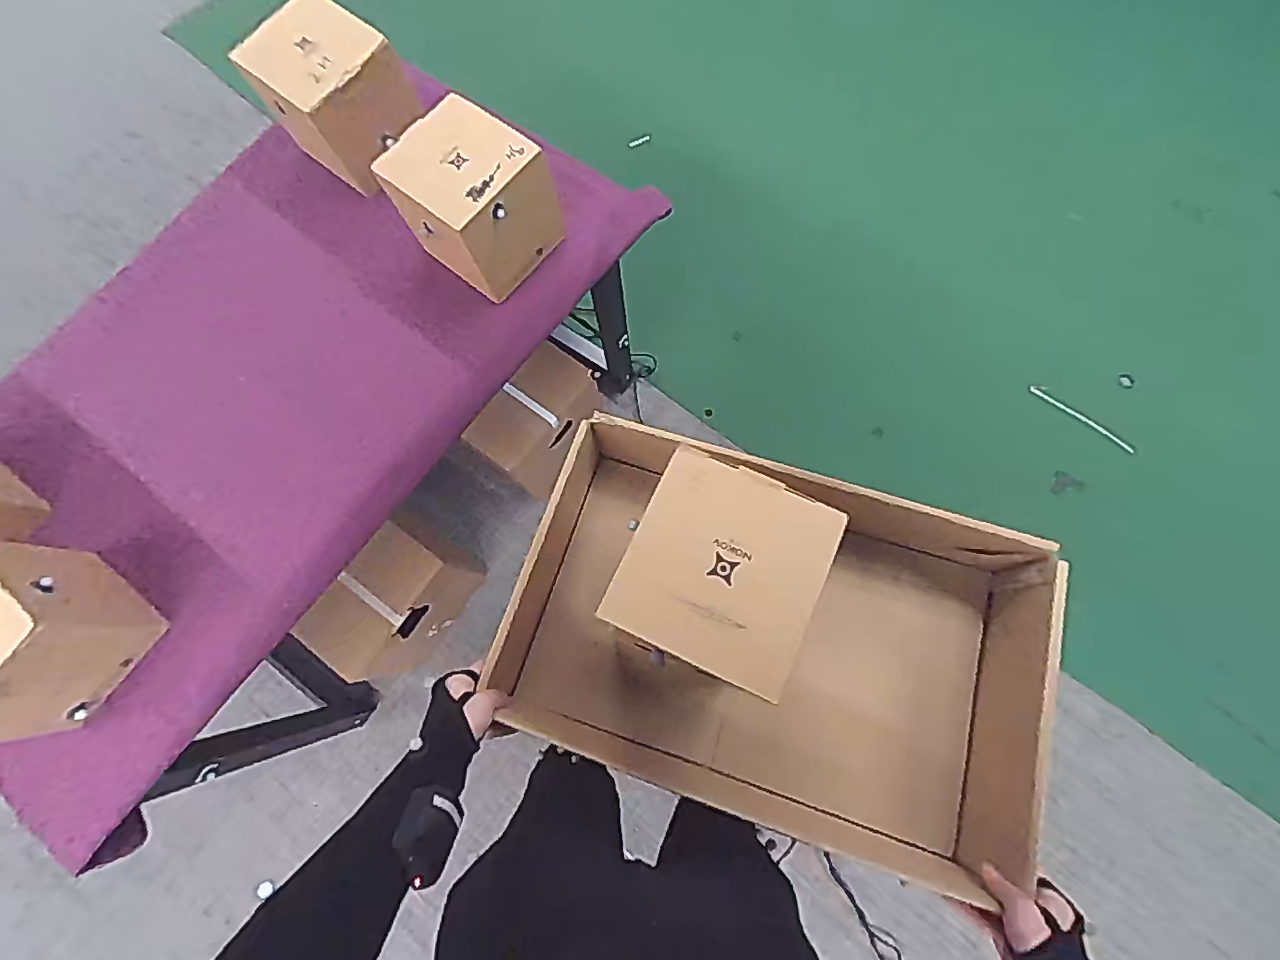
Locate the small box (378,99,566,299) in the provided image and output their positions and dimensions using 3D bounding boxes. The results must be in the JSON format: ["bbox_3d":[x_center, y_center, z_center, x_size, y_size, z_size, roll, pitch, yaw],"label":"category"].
[{"bbox_3d":[-0.238,-0.408,0.809,0.179,0.176,0.168,38,81,14],"label":"small box"}]

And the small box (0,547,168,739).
[{"bbox_3d":[-0.757,0.195,0.668,0.179,0.176,0.168,34,78,12],"label":"small box"}]

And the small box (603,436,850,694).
[{"bbox_3d":[0.078,0.089,0.543,0.168,0.176,0.179,25,75,9],"label":"small box"}]

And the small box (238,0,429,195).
[{"bbox_3d":[-0.474,-0.605,0.871,0.179,0.176,0.168,38,82,10],"label":"small box"}]

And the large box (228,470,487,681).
[{"bbox_3d":[-0.665,0.240,1.340,0.408,0.320,0.320,33,78,11],"label":"large box"}]
